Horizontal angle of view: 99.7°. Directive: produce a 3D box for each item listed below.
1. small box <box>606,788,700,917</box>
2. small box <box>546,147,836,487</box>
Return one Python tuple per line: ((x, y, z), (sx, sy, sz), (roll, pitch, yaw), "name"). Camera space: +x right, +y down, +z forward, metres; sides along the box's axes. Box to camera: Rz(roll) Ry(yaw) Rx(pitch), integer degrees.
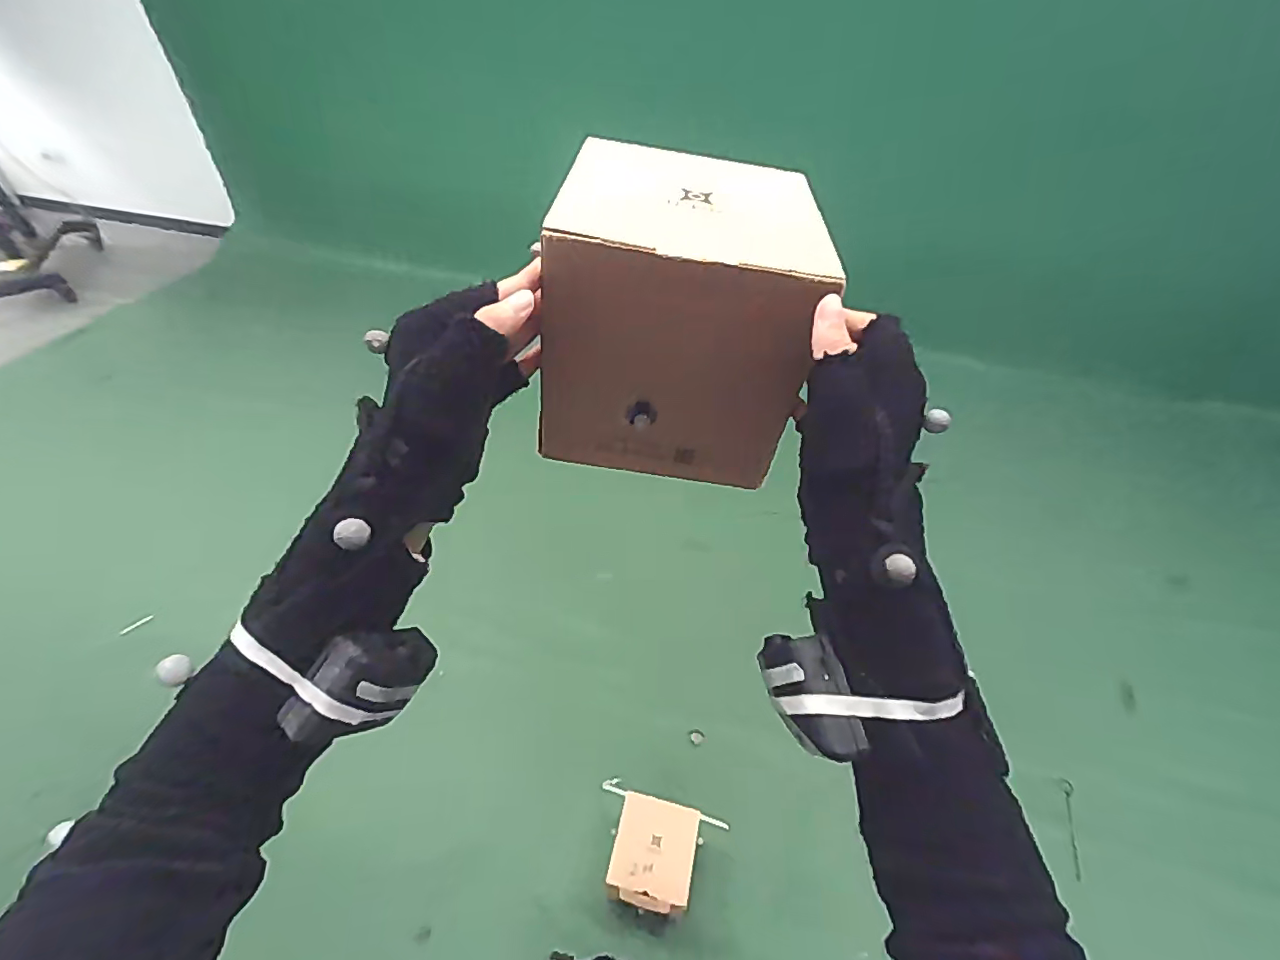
((0.025, 0.812, 1.177), (0.168, 0.176, 0.179), (12, 45, 9), "small box")
((0.024, -0.122, 0.410), (0.168, 0.176, 0.179), (8, 46, -3), "small box")
